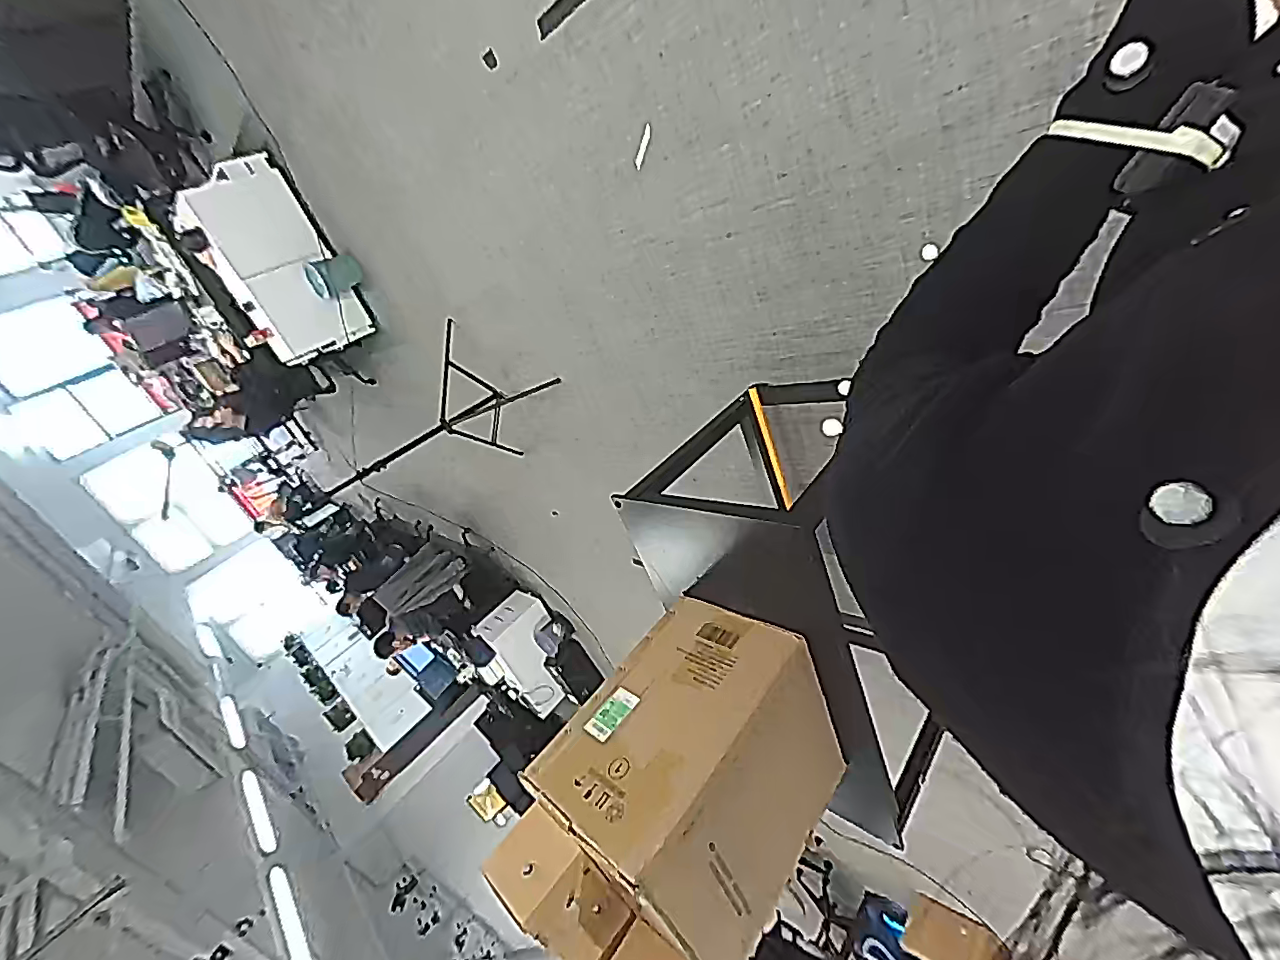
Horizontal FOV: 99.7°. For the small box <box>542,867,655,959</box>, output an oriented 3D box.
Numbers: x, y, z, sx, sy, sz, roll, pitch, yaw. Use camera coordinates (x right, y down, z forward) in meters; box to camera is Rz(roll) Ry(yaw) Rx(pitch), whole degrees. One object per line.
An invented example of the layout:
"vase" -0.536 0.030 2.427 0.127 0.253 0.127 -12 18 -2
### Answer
"small box" -0.092 1.077 1.275 0.168 0.176 0.179 8 129 48
